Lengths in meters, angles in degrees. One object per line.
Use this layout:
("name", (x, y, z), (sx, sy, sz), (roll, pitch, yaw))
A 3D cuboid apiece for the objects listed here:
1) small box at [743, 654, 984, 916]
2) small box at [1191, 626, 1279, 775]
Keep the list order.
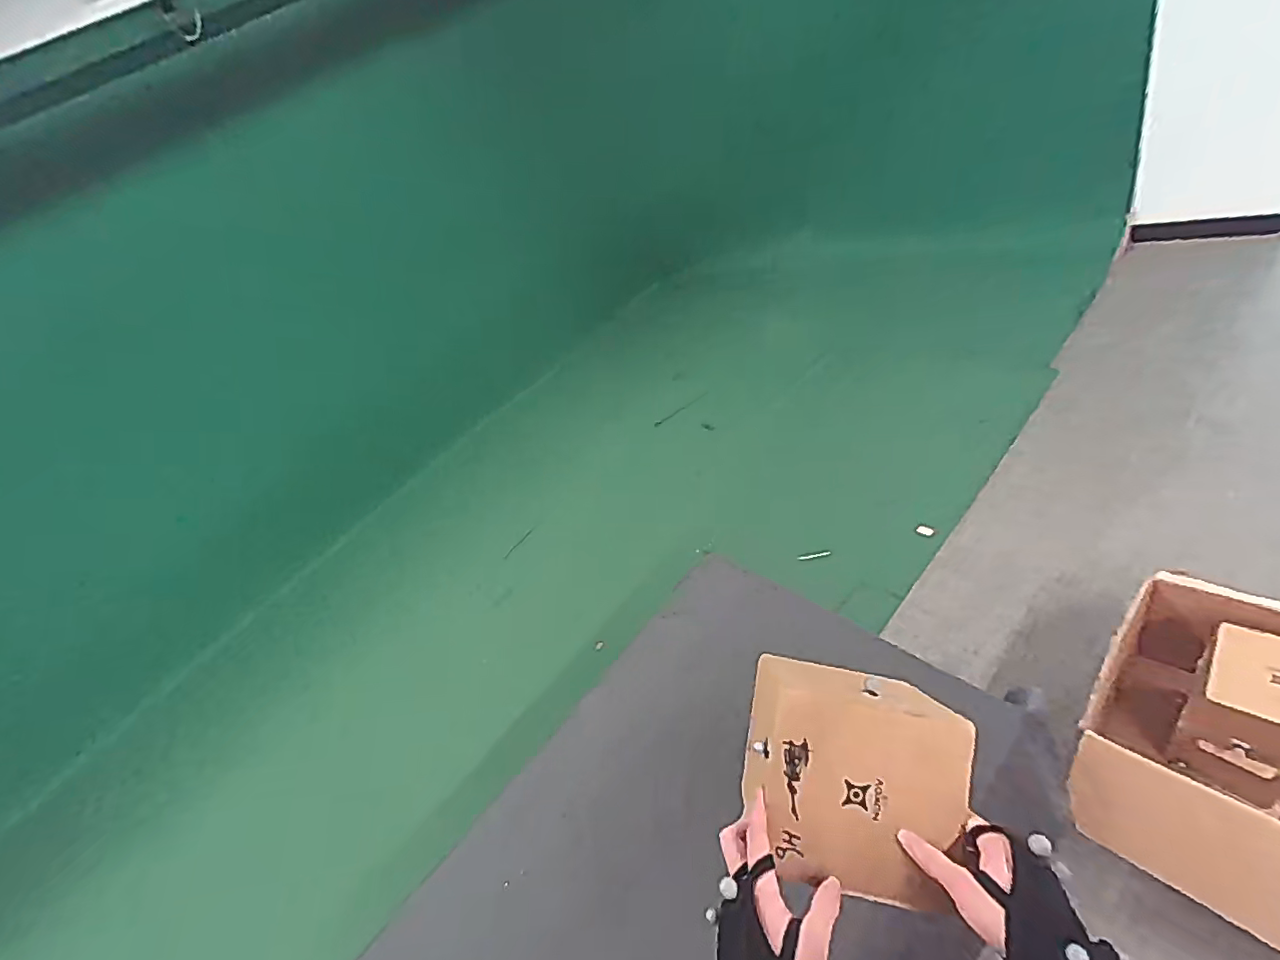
("small box", (0.213, 0.290, 0.560), (0.179, 0.176, 0.168), (11, 83, 8))
("small box", (1.140, 0.405, 0.978), (0.168, 0.176, 0.179), (16, 57, 42))
